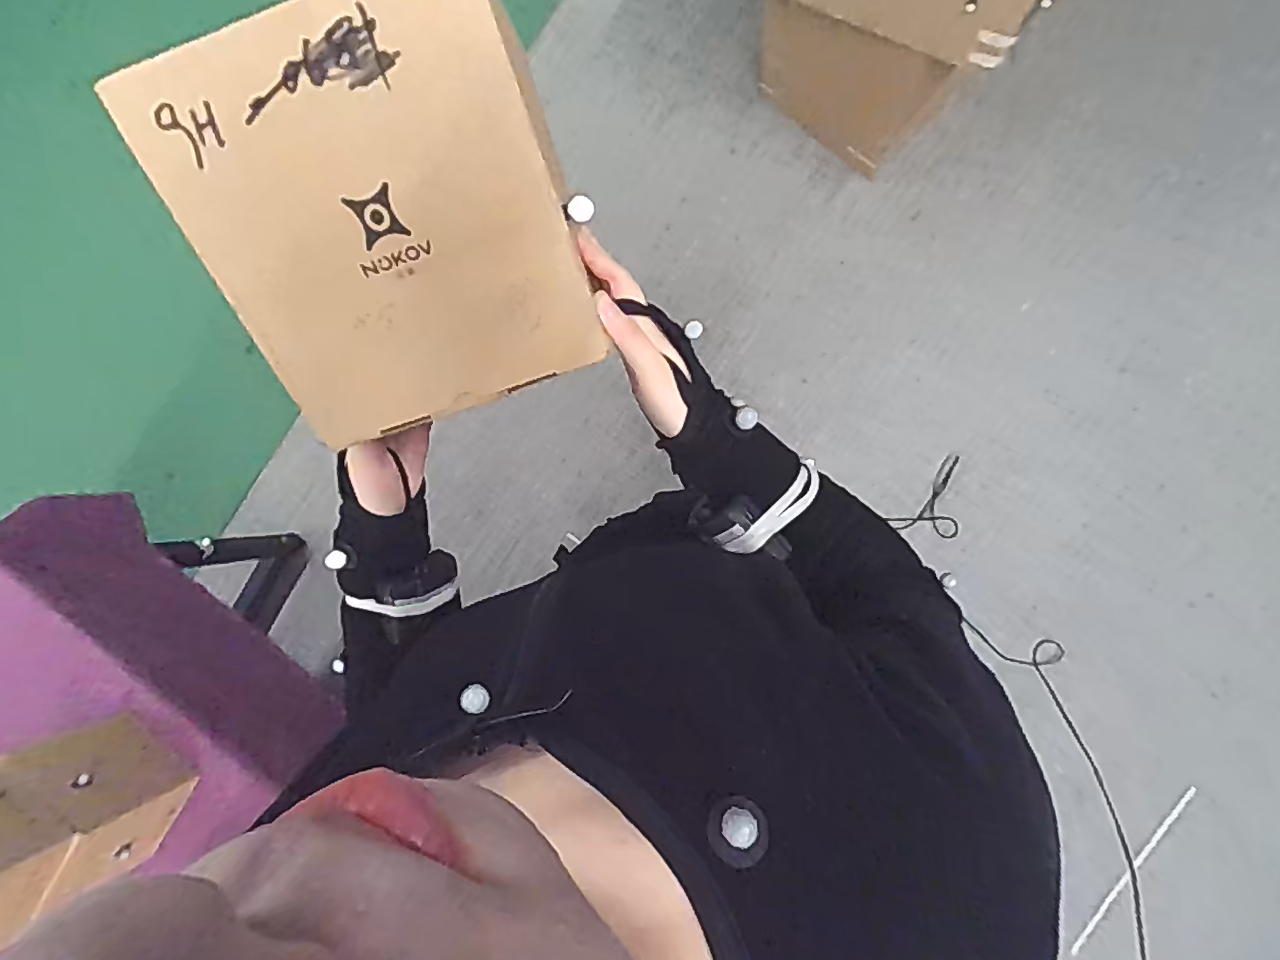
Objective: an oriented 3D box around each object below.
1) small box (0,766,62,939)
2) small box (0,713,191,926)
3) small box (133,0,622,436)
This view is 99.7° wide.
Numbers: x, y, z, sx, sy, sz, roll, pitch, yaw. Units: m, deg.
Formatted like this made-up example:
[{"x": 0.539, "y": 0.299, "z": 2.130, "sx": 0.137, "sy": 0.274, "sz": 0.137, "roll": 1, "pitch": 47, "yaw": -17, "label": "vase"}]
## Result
[{"x": -0.865, "y": 0.484, "z": 0.646, "sx": 0.168, "sy": 0.176, "sz": 0.179, "roll": 32, "pitch": 94, "yaw": 9, "label": "small box"}, {"x": -0.836, "y": 0.485, "z": 0.806, "sx": 0.179, "sy": 0.176, "sz": 0.168, "roll": 34, "pitch": 93, "yaw": 9, "label": "small box"}, {"x": -0.113, "y": -0.154, "z": 0.325, "sx": 0.168, "sy": 0.176, "sz": 0.179, "roll": -17, "pitch": 117, "yaw": 4, "label": "small box"}]
